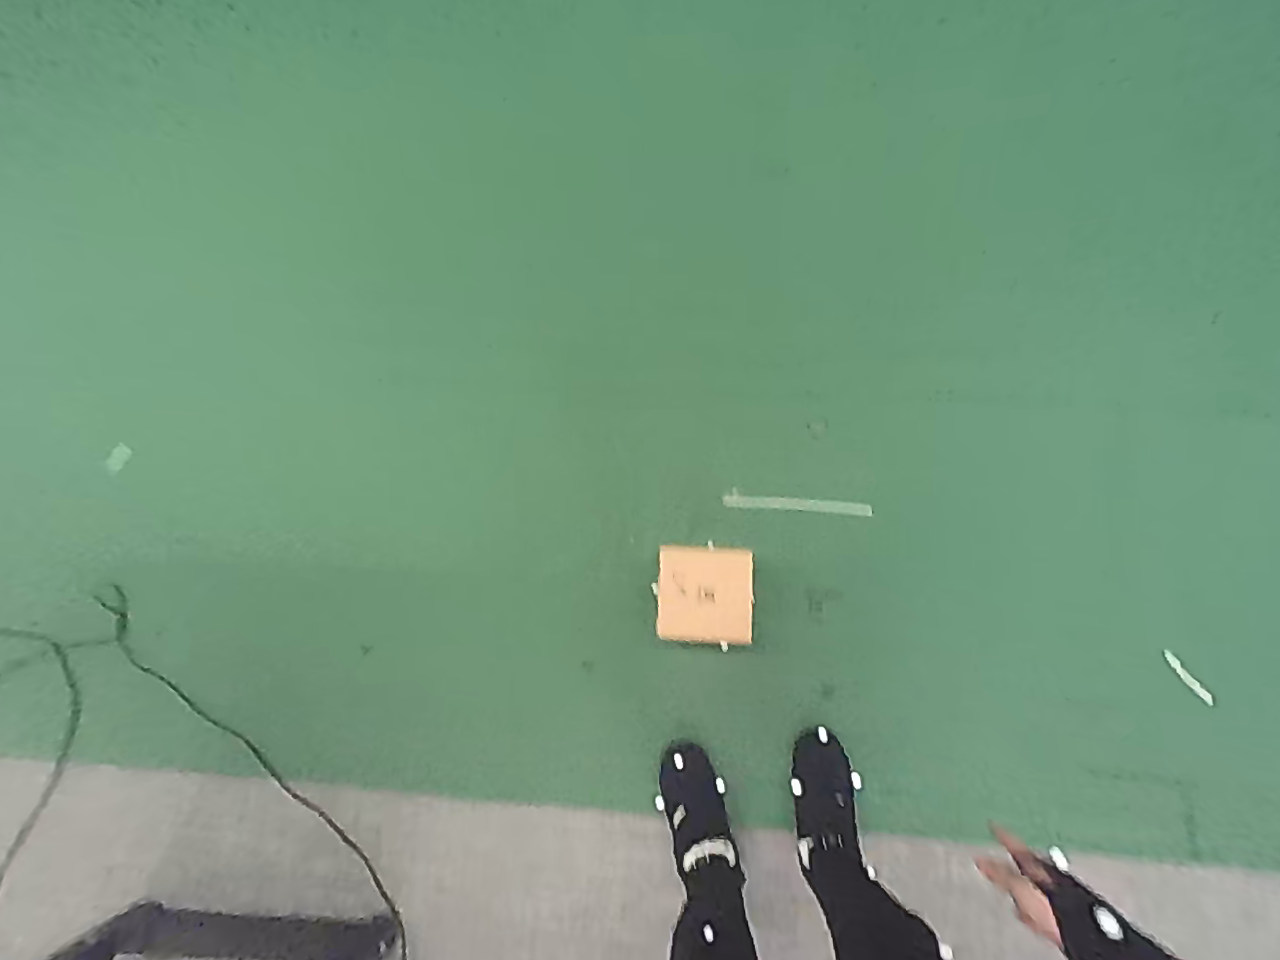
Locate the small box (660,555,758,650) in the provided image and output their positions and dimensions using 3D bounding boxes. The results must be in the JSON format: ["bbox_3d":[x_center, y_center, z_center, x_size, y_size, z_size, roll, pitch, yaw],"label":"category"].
[{"bbox_3d":[0.134,0.239,1.080,0.179,0.176,0.168,2,79,5],"label":"small box"}]
